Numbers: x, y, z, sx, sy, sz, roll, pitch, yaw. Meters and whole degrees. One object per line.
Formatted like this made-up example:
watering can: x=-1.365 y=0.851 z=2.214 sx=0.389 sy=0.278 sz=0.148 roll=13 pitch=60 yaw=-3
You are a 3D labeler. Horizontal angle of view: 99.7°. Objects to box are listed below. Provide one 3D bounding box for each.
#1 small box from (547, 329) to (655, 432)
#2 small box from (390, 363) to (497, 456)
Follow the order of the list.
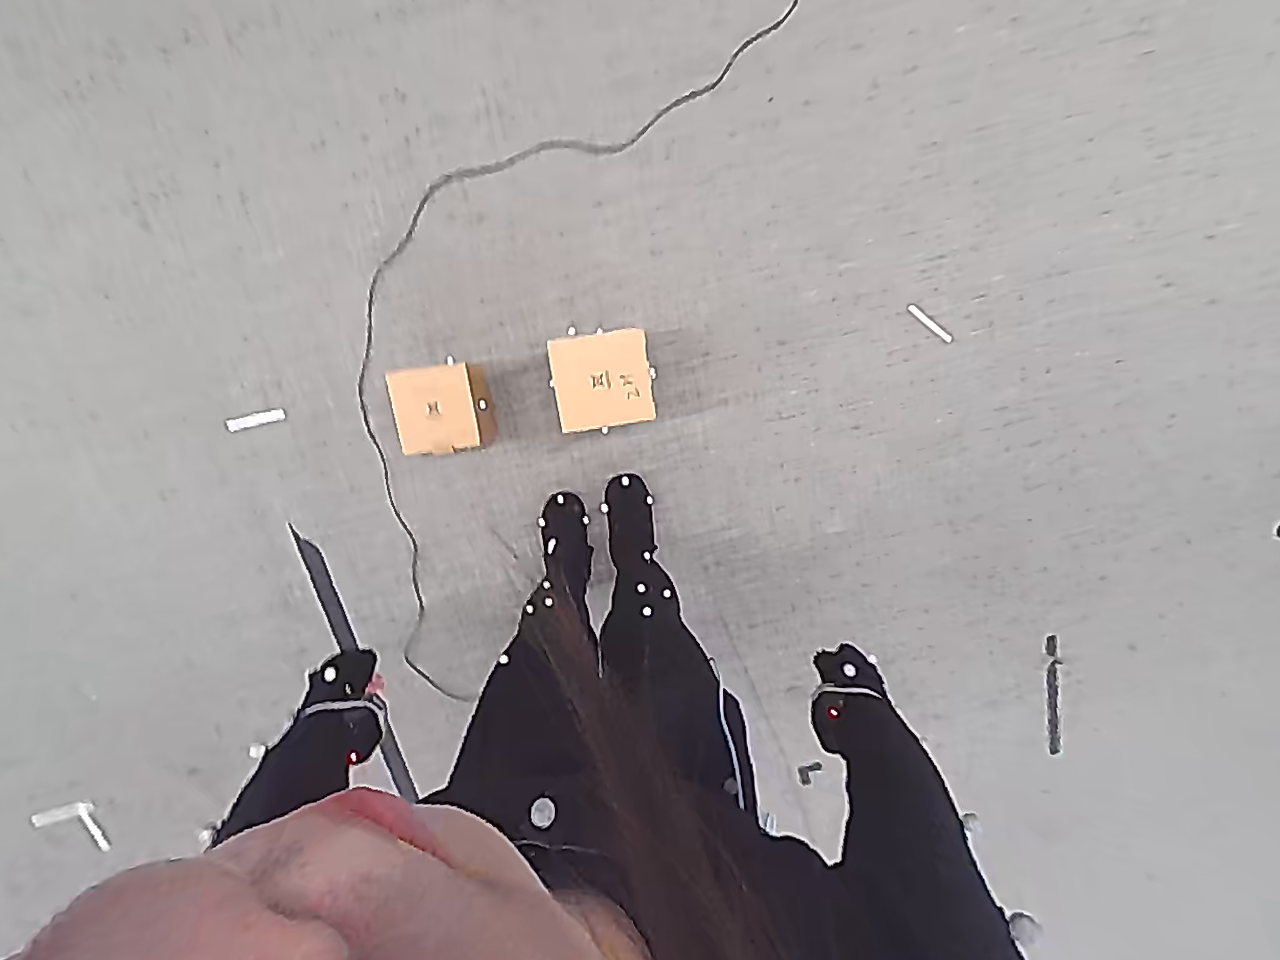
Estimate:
small box: x=-0.072 y=-0.193 z=1.046 sx=0.179 sy=0.176 sz=0.168 roll=-9 pitch=104 yaw=-2
small box: x=-0.426 y=-0.162 z=1.206 sx=0.168 sy=0.176 sz=0.179 roll=-8 pitch=103 yaw=-2
